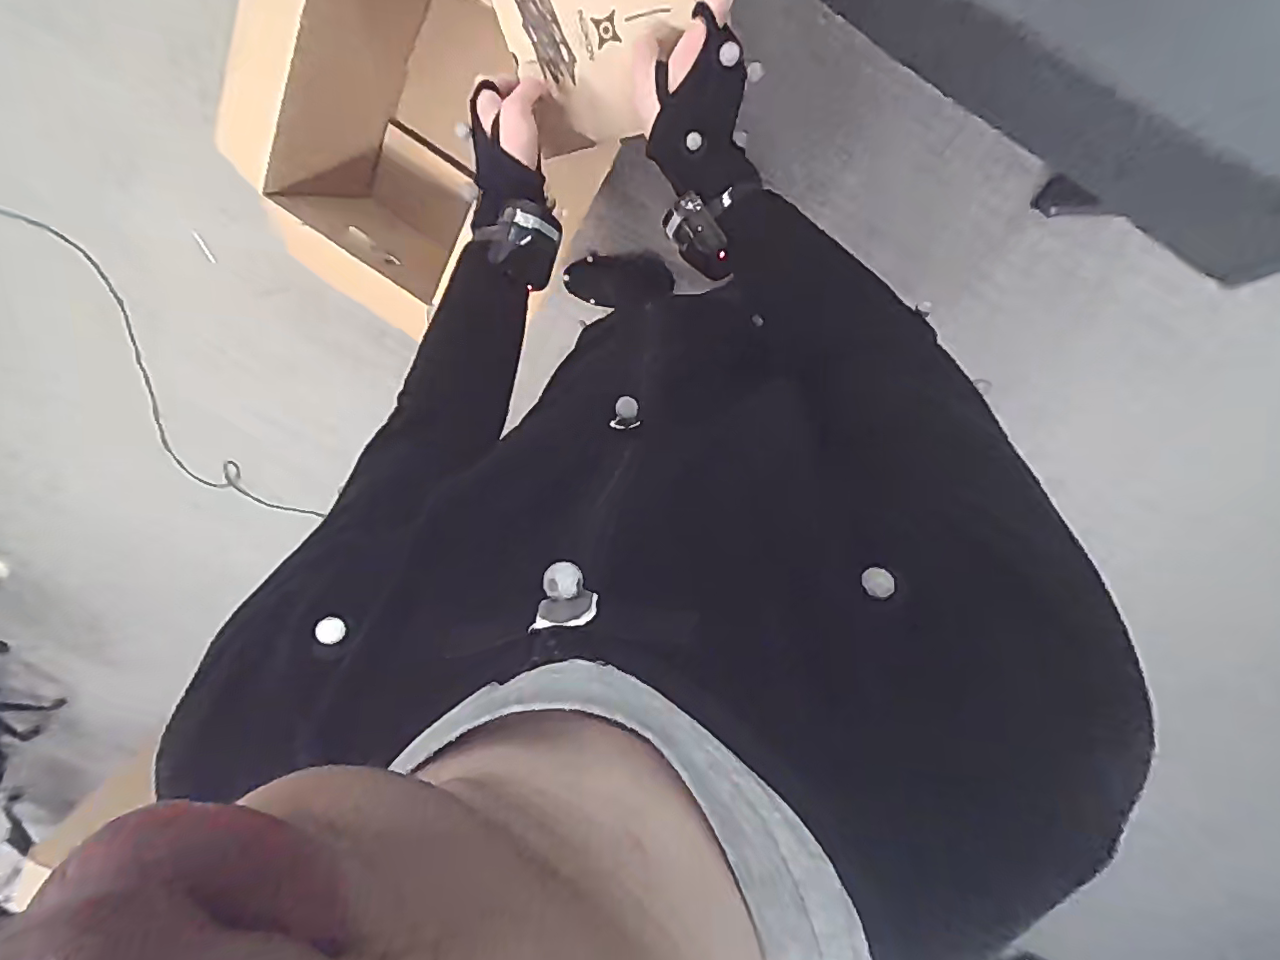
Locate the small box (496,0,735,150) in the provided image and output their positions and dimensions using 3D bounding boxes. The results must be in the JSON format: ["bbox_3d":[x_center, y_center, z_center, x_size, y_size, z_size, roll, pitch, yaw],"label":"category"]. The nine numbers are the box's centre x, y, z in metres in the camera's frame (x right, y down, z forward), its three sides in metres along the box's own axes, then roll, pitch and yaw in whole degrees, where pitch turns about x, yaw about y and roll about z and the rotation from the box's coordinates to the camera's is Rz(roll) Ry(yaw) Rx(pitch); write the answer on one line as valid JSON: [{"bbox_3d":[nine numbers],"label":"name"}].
[{"bbox_3d":[-0.014,-0.441,0.511,0.179,0.176,0.168,-2,134,19],"label":"small box"}]
